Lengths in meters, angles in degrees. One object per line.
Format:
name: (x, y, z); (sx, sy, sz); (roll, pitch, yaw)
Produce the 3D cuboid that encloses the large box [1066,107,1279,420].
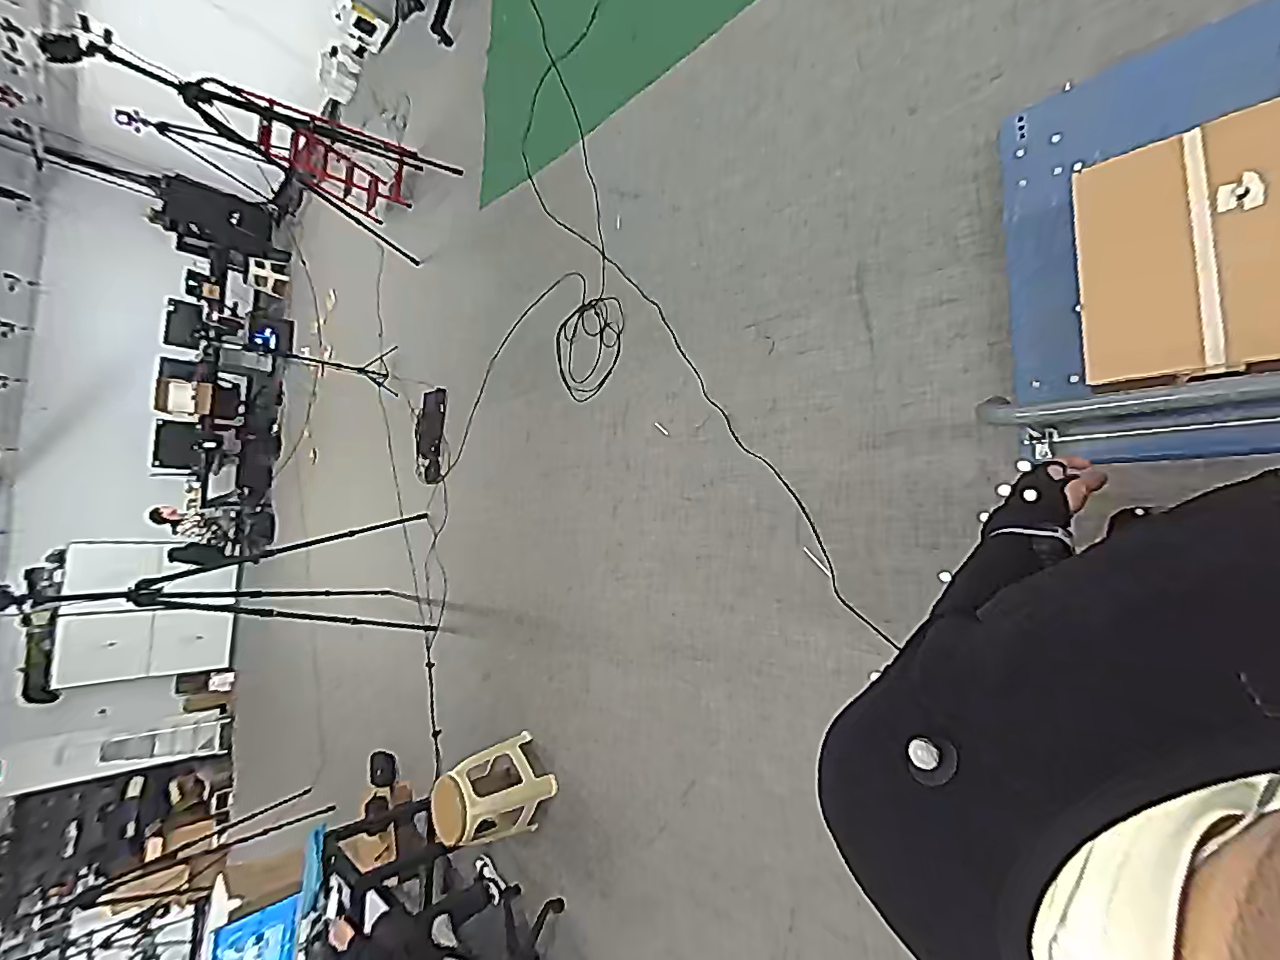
large box: (1.010, -0.352, 0.985); (0.320, 0.320, 0.408); (-6, 80, 43)
